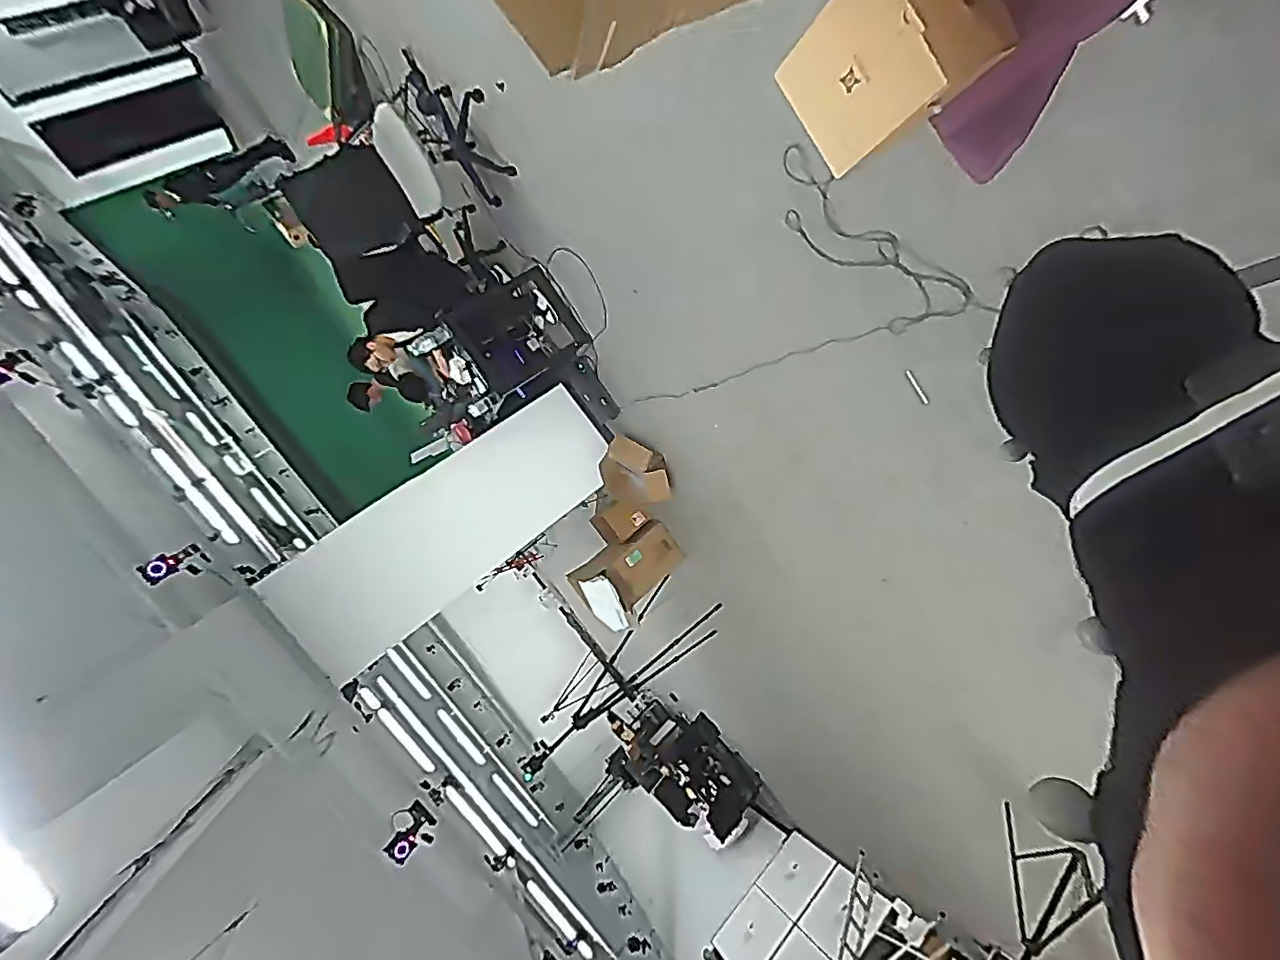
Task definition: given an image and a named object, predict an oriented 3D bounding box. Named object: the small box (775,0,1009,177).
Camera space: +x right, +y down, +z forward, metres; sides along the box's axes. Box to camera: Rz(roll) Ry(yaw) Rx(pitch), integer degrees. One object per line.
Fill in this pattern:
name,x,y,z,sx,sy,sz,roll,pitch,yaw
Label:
small box,0.316,-0.538,0.689,0.168,0.176,0.179,54,157,-7
